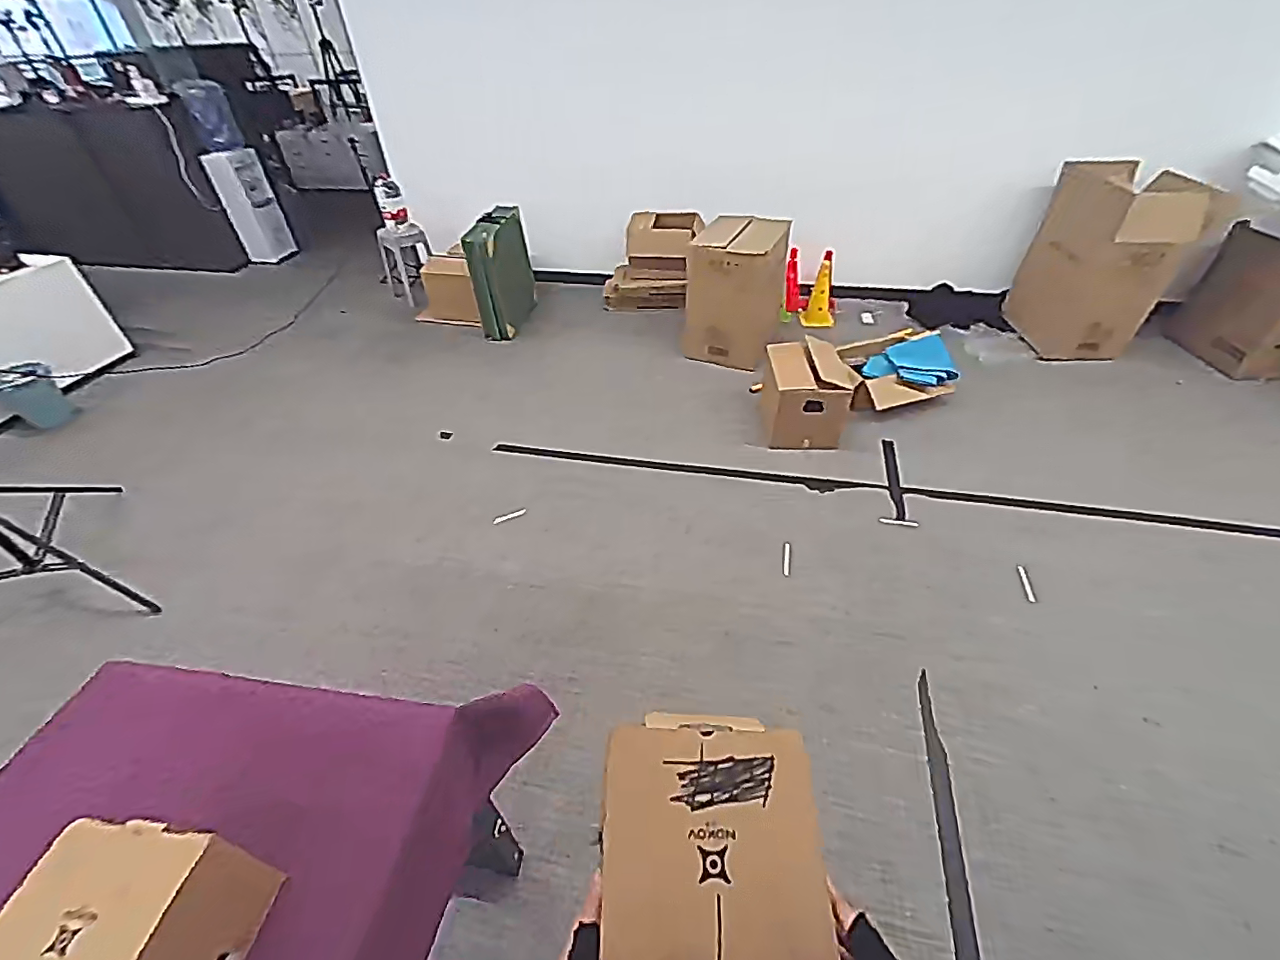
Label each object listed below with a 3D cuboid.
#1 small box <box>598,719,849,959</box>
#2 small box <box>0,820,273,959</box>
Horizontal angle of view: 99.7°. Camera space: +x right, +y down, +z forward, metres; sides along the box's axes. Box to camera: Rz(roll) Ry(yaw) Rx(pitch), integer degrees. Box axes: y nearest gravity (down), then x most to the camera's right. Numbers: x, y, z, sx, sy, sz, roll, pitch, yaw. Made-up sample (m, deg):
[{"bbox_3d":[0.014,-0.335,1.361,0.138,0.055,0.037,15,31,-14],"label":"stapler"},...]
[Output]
[{"bbox_3d":[0.052,0.323,0.460,0.168,0.176,0.179,3,49,-3],"label":"small box"},{"bbox_3d":[-0.533,0.492,0.568,0.168,0.176,0.179,2,41,6],"label":"small box"}]
